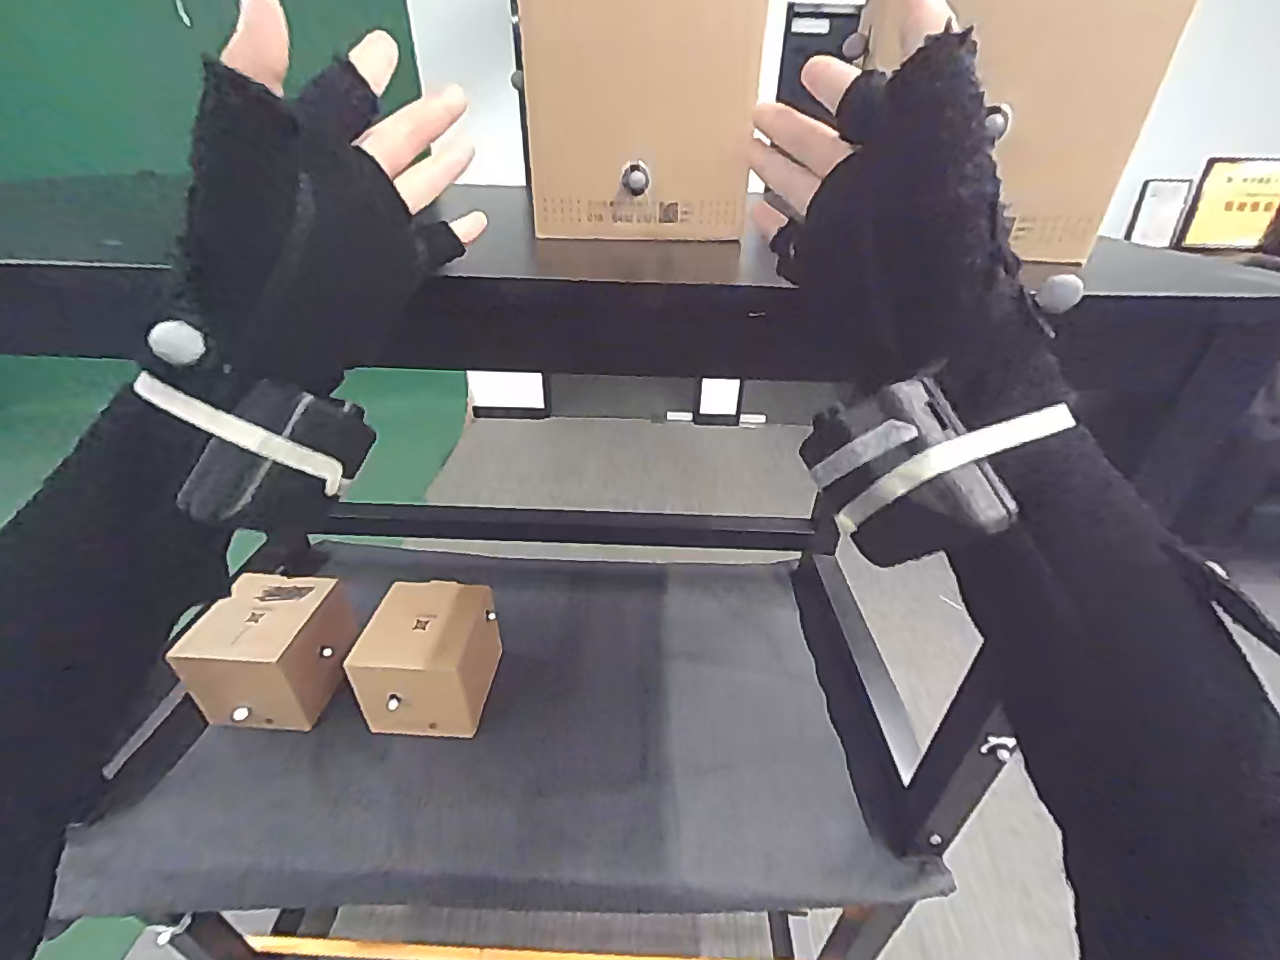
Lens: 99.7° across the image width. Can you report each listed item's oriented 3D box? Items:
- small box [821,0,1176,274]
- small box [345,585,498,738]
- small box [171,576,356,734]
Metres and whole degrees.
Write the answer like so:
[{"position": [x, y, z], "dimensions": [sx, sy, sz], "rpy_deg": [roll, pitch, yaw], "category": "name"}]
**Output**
[{"position": [0.243, -0.265, 0.418], "dimensions": [0.168, 0.176, 0.179], "rpy_deg": [8, 33, 10], "category": "small box"}, {"position": [-0.338, 0.294, 0.880], "dimensions": [0.168, 0.176, 0.179], "rpy_deg": [3, 32, 1], "category": "small box"}, {"position": [-0.591, 0.282, 0.883], "dimensions": [0.168, 0.176, 0.179], "rpy_deg": [3, 33, 2], "category": "small box"}]
